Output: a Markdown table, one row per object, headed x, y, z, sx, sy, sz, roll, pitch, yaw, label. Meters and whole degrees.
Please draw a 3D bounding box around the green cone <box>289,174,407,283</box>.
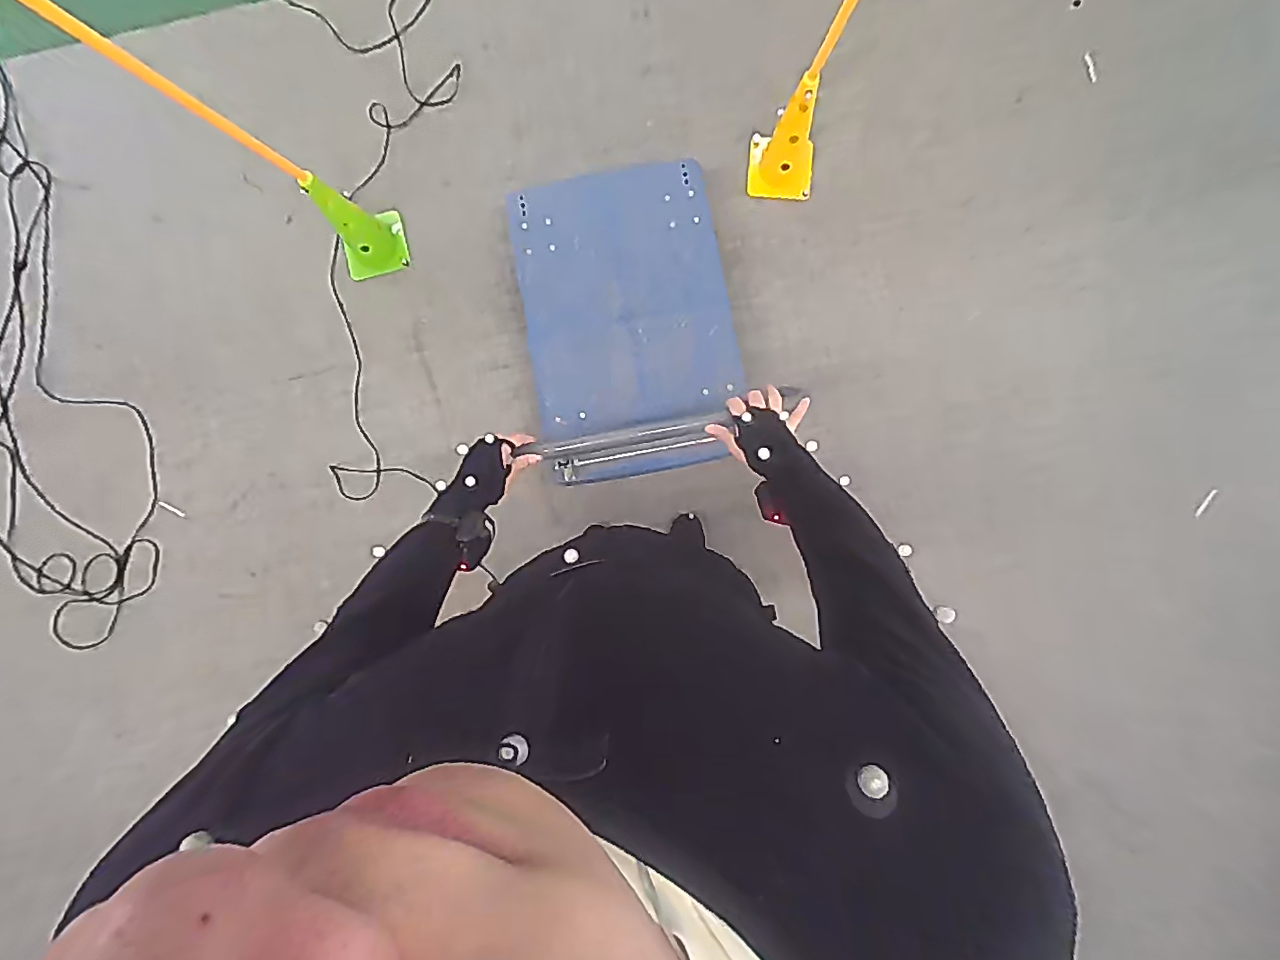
| x | y | z | sx | sy | sz | roll | pitch | yaw | label |
| --- | --- | --- | --- | --- | --- | --- | --- | --- | --- |
| -0.874 | -0.767 | 1.576 | 0.202 | 0.368 | 0.200 | -16 | 85 | 2 | green cone |
